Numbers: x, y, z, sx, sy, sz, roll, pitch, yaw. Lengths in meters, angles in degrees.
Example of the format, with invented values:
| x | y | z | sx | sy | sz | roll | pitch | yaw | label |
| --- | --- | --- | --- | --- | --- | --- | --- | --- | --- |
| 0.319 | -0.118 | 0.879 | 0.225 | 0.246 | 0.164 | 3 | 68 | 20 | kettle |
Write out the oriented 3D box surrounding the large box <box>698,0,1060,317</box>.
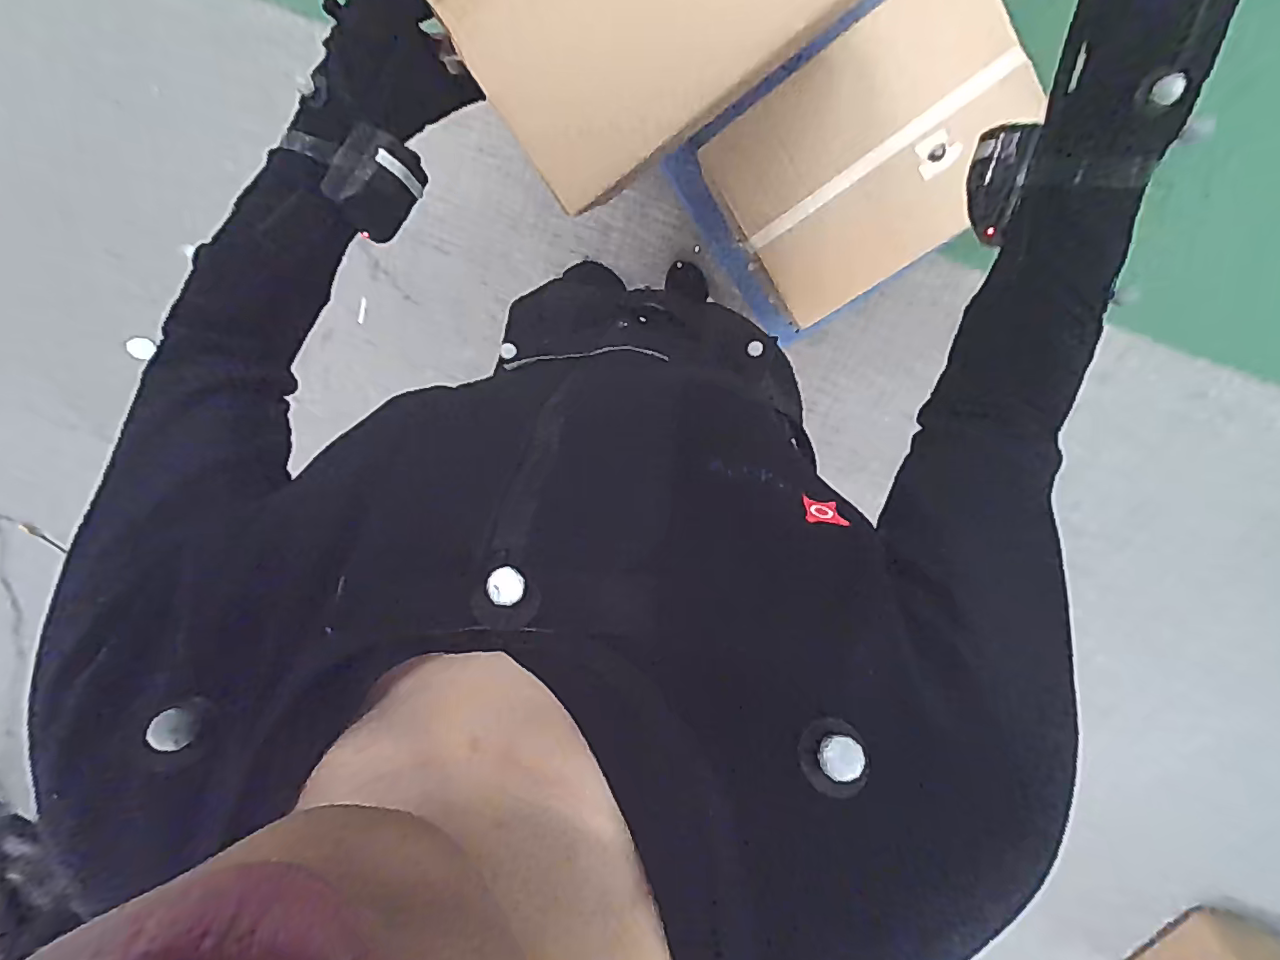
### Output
| x | y | z | sx | sy | sz | roll | pitch | yaw | label |
| --- | --- | --- | --- | --- | --- | --- | --- | --- | --- |
| 0.351 | -0.523 | 0.904 | 0.408 | 0.320 | 0.320 | -31 | 103 | 18 | large box |
